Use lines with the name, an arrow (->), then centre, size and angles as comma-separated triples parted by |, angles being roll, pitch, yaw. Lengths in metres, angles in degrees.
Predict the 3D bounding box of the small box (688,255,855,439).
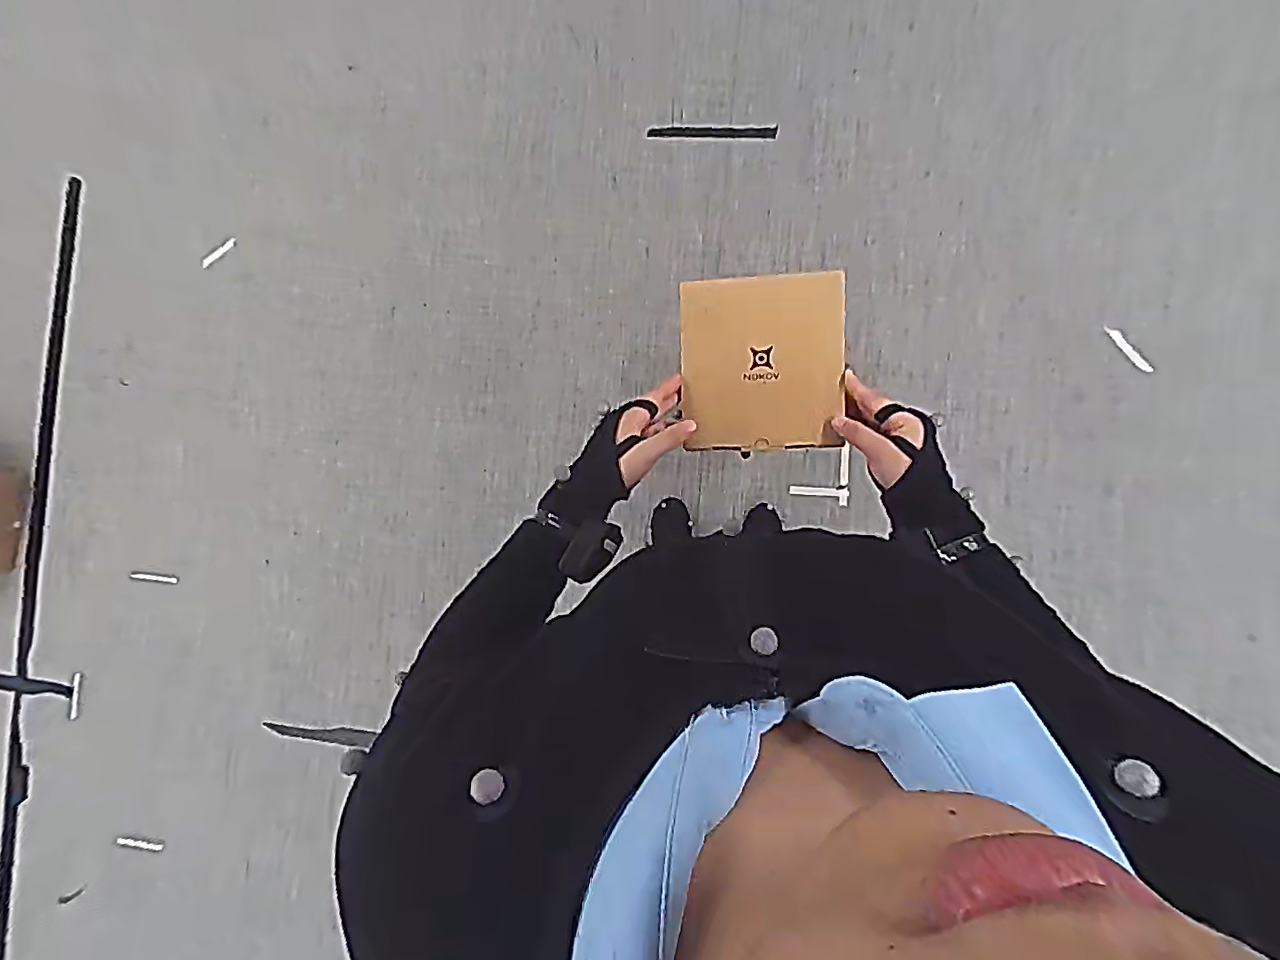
small box -> 0.143, -0.137, 0.622 | 0.168, 0.176, 0.179 | -2, 95, 10
